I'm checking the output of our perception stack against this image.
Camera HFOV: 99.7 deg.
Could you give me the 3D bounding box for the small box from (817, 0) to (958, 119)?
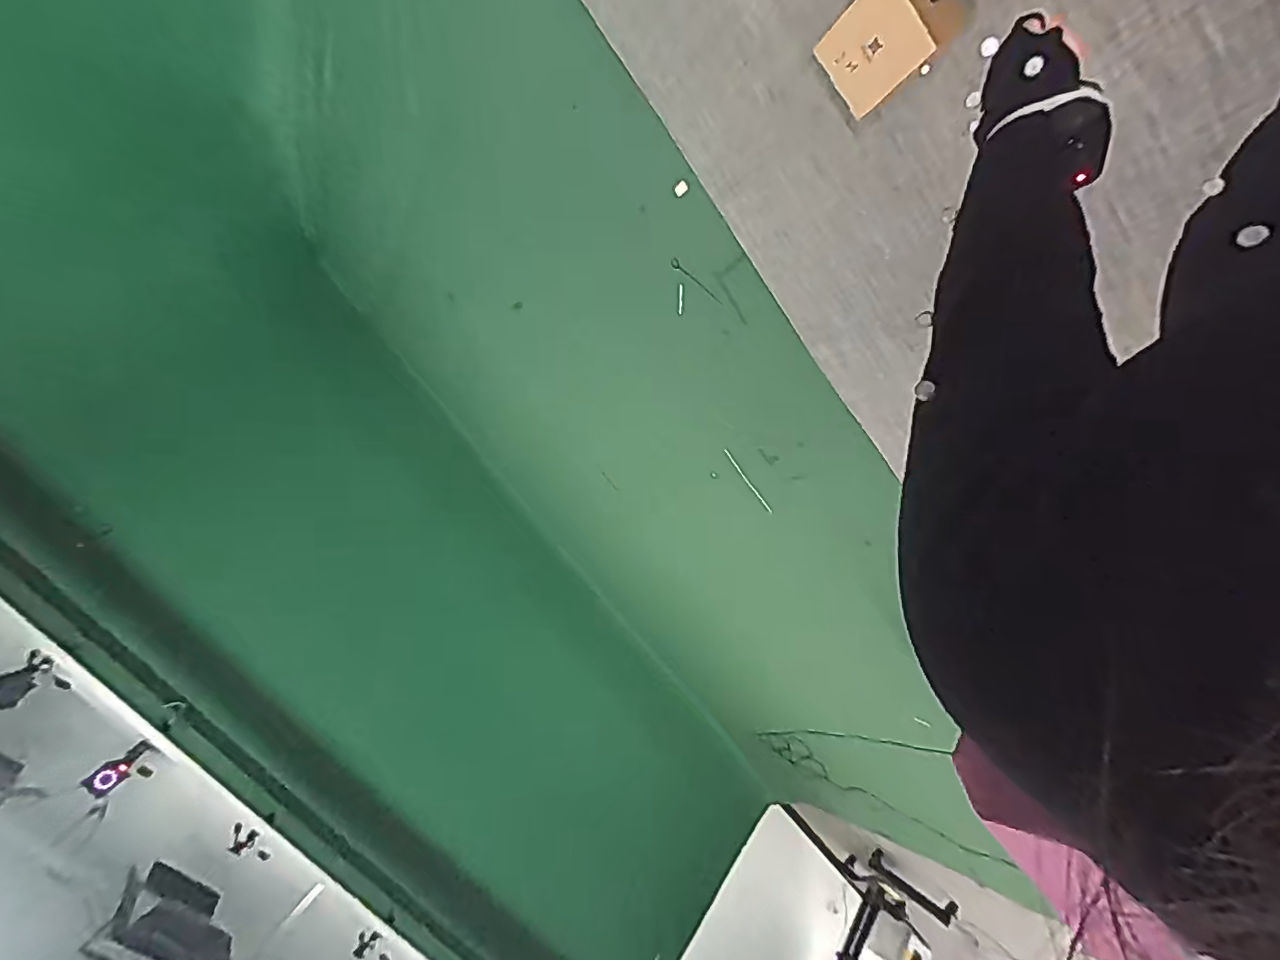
[{"bbox_3d":[0.493,-0.868,1.064,0.168,0.176,0.179,52,151,-10],"label":"small box"}]
